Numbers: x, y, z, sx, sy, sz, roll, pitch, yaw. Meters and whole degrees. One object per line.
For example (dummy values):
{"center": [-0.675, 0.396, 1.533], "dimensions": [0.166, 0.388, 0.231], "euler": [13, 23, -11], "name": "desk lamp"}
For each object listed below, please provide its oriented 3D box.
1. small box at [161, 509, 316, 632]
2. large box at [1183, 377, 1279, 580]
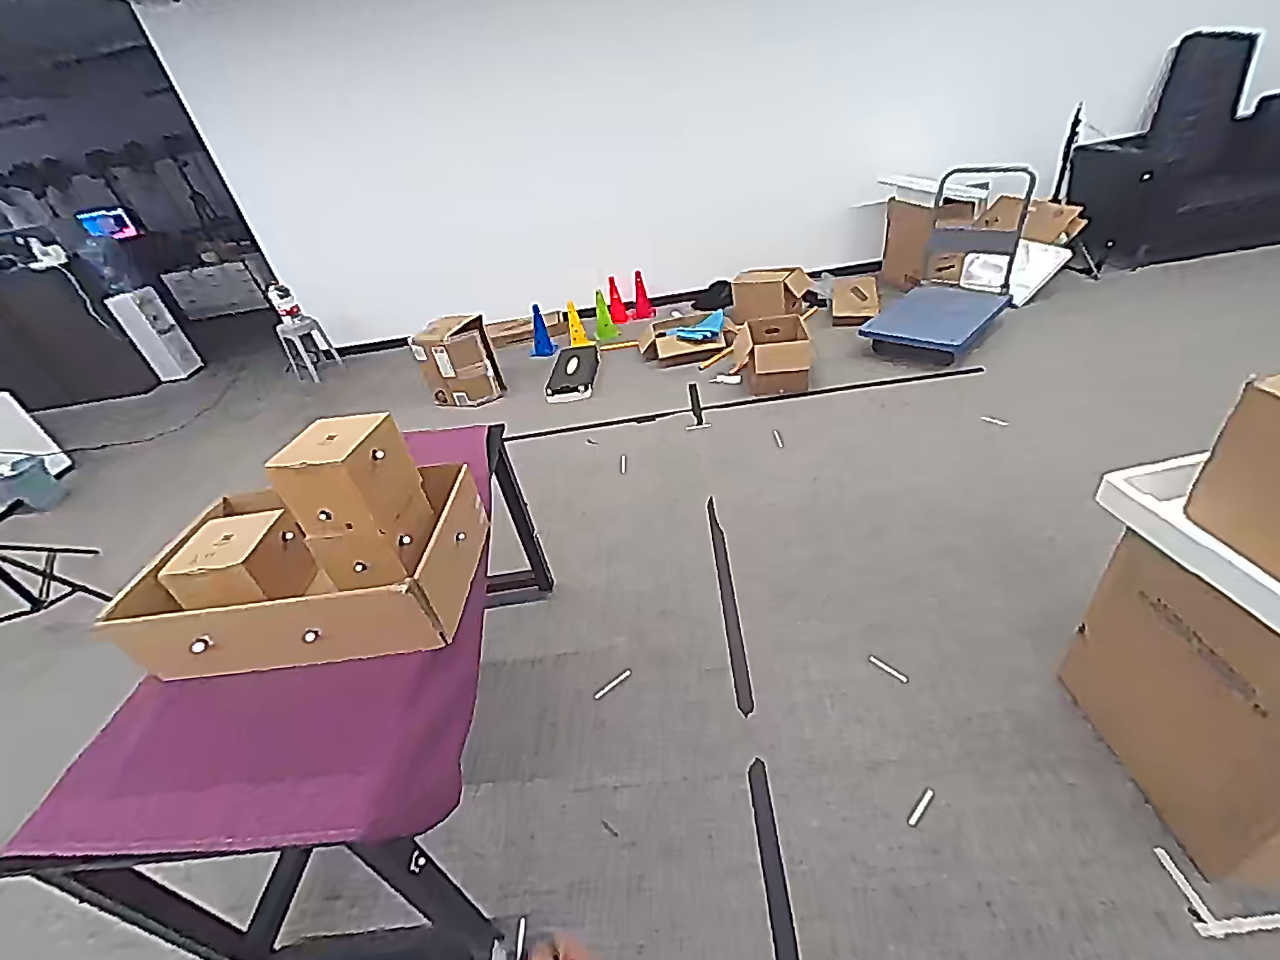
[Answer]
{"center": [-0.812, 0.186, 1.120], "dimensions": [0.168, 0.176, 0.179], "euler": [-9, 34, 1], "name": "small box"}
{"center": [1.274, 0.034, 0.888], "dimensions": [0.320, 0.320, 0.408], "euler": [-10, 33, 1], "name": "large box"}
